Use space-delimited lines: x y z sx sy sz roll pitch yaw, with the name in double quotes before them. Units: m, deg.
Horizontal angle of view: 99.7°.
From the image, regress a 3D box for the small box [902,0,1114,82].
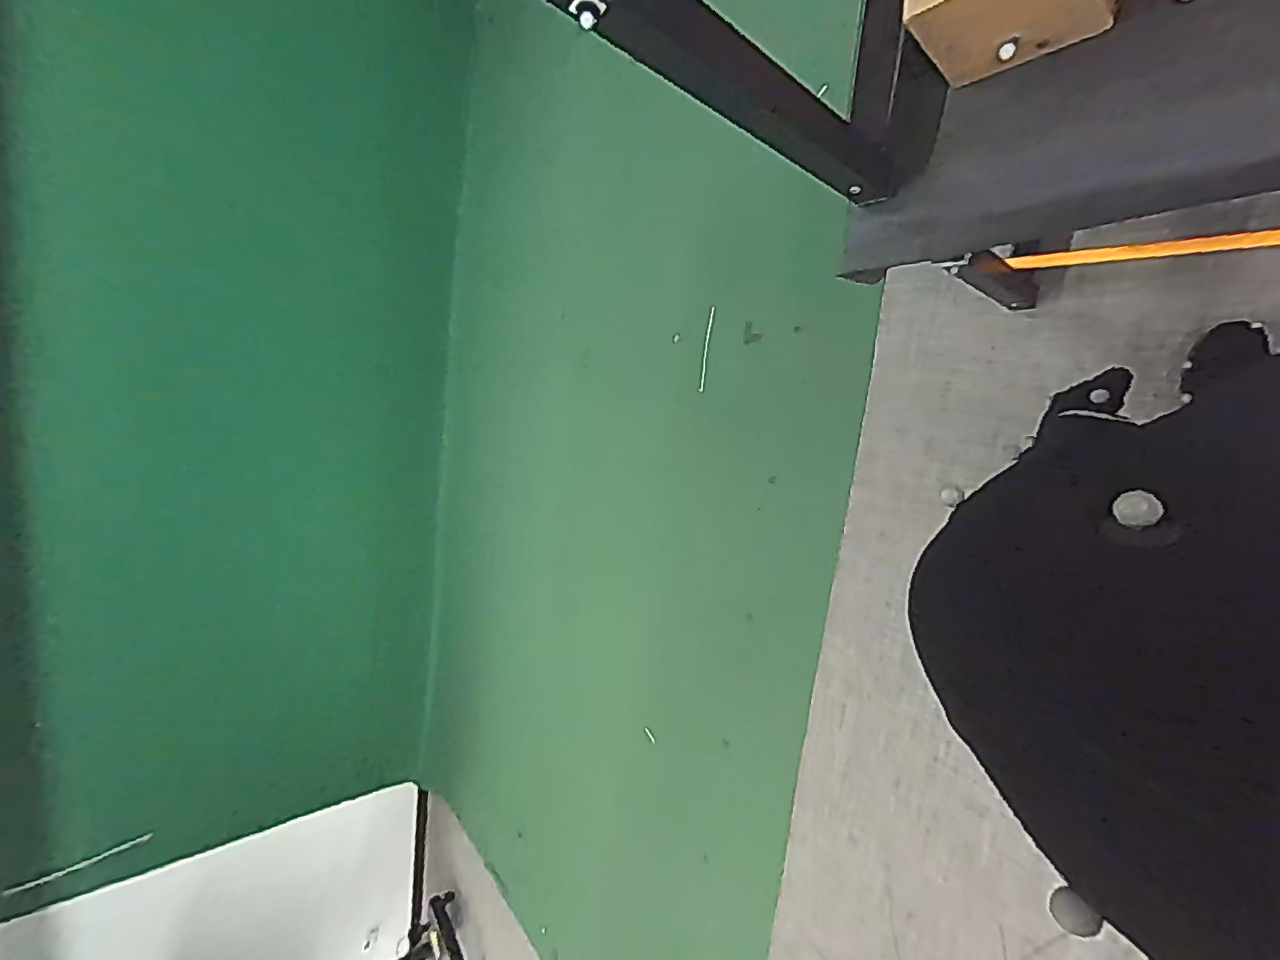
"small box" 0.422 -0.604 0.606 0.168 0.176 0.179 11 99 49
